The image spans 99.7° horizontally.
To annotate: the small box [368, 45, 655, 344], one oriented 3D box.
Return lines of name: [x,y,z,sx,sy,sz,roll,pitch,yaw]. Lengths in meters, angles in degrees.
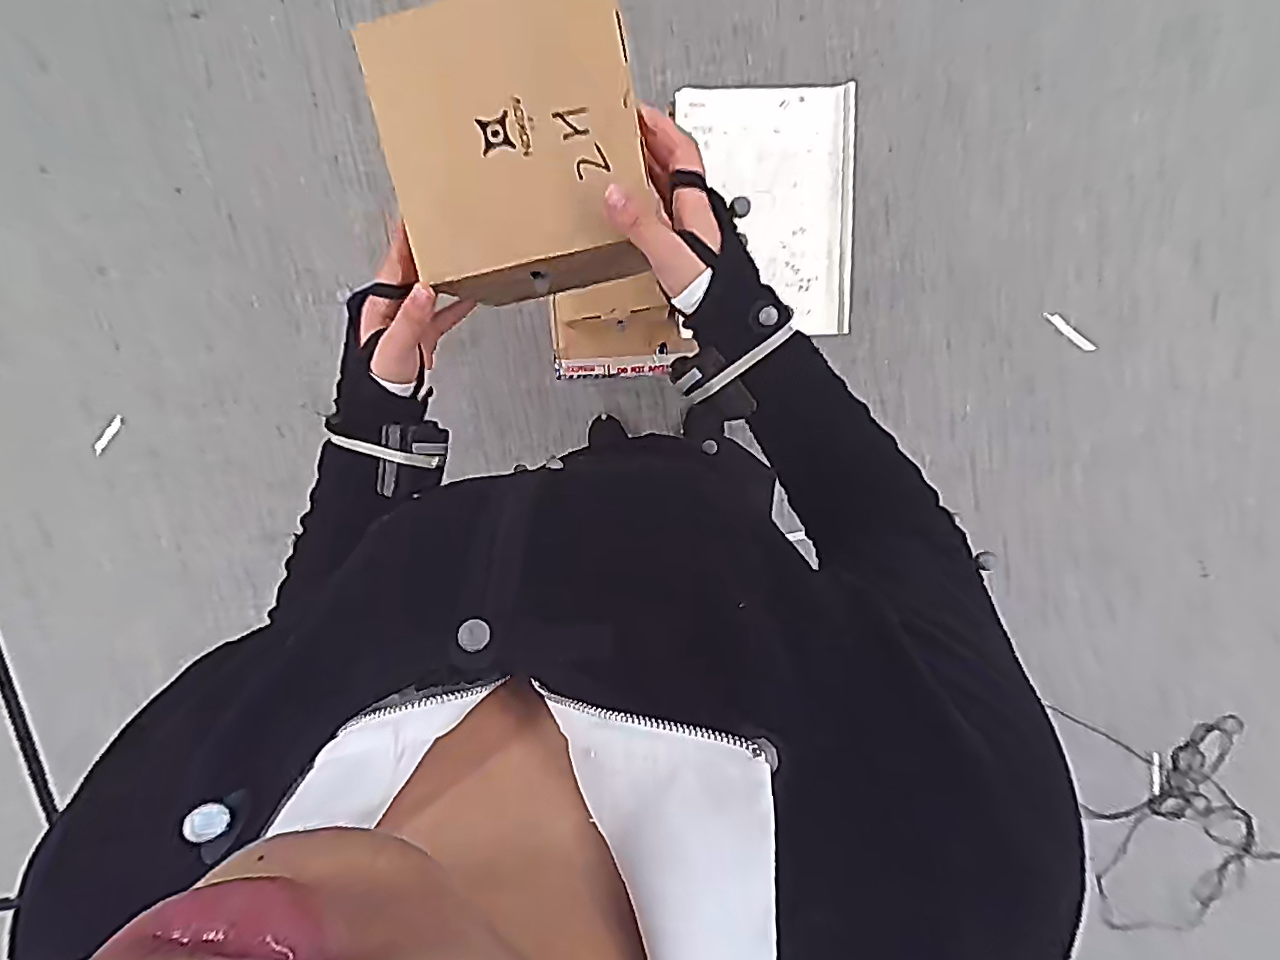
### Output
small box: [-0.087,-0.214,0.460,0.179,0.176,0.168,-10,102,5]

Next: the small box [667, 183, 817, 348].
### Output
small box: [0.126,-0.273,0.724,0.168,0.176,0.179,-2,100,-2]
